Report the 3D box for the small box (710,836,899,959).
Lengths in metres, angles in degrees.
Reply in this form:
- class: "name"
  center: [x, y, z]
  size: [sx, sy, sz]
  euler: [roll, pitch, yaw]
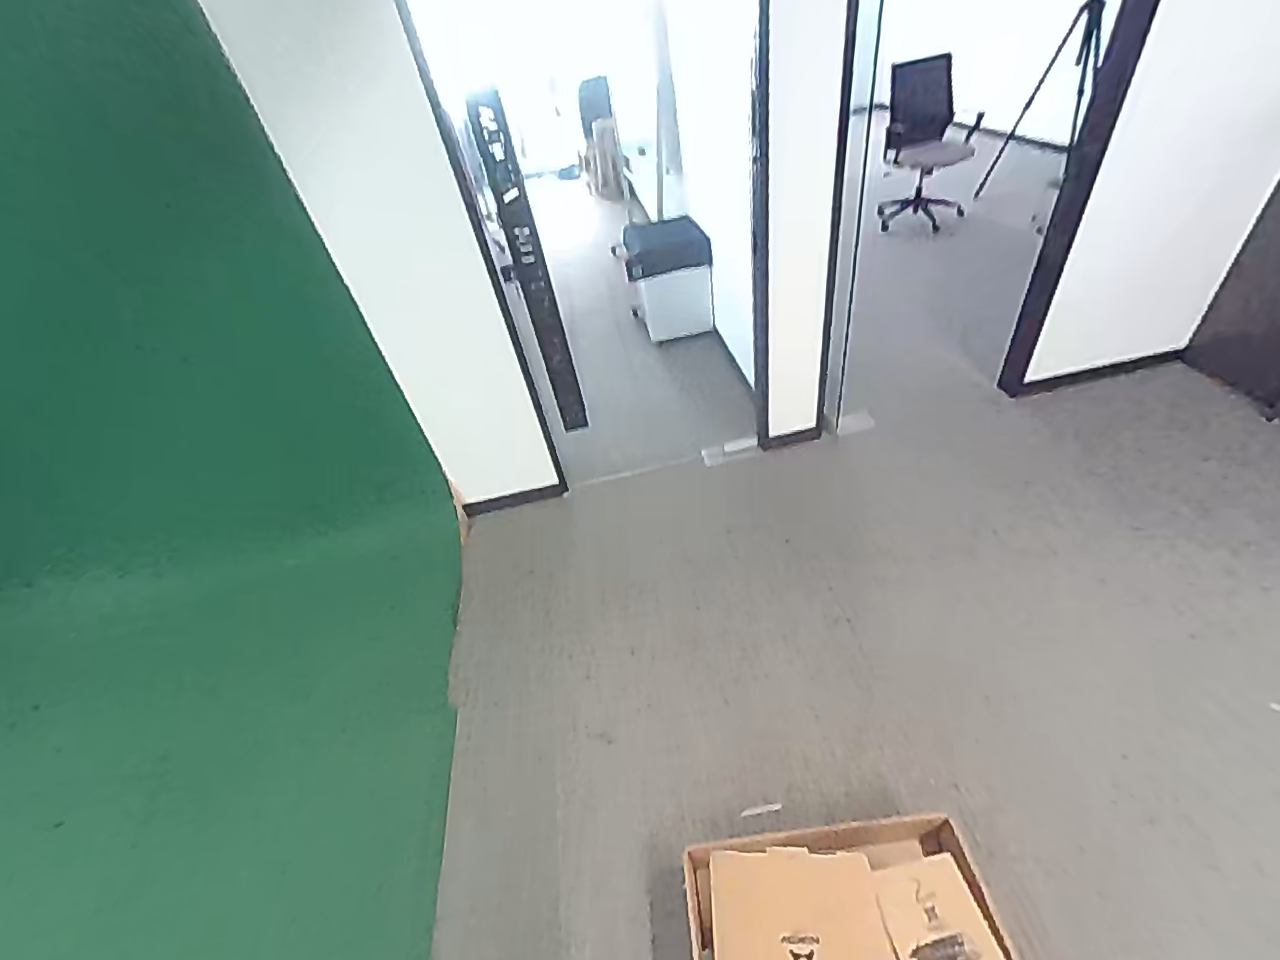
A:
- class: "small box"
  center: [0.154, 0.488, 0.530]
  size: [0.168, 0.176, 0.179]
  euler: [-4, 30, 6]
